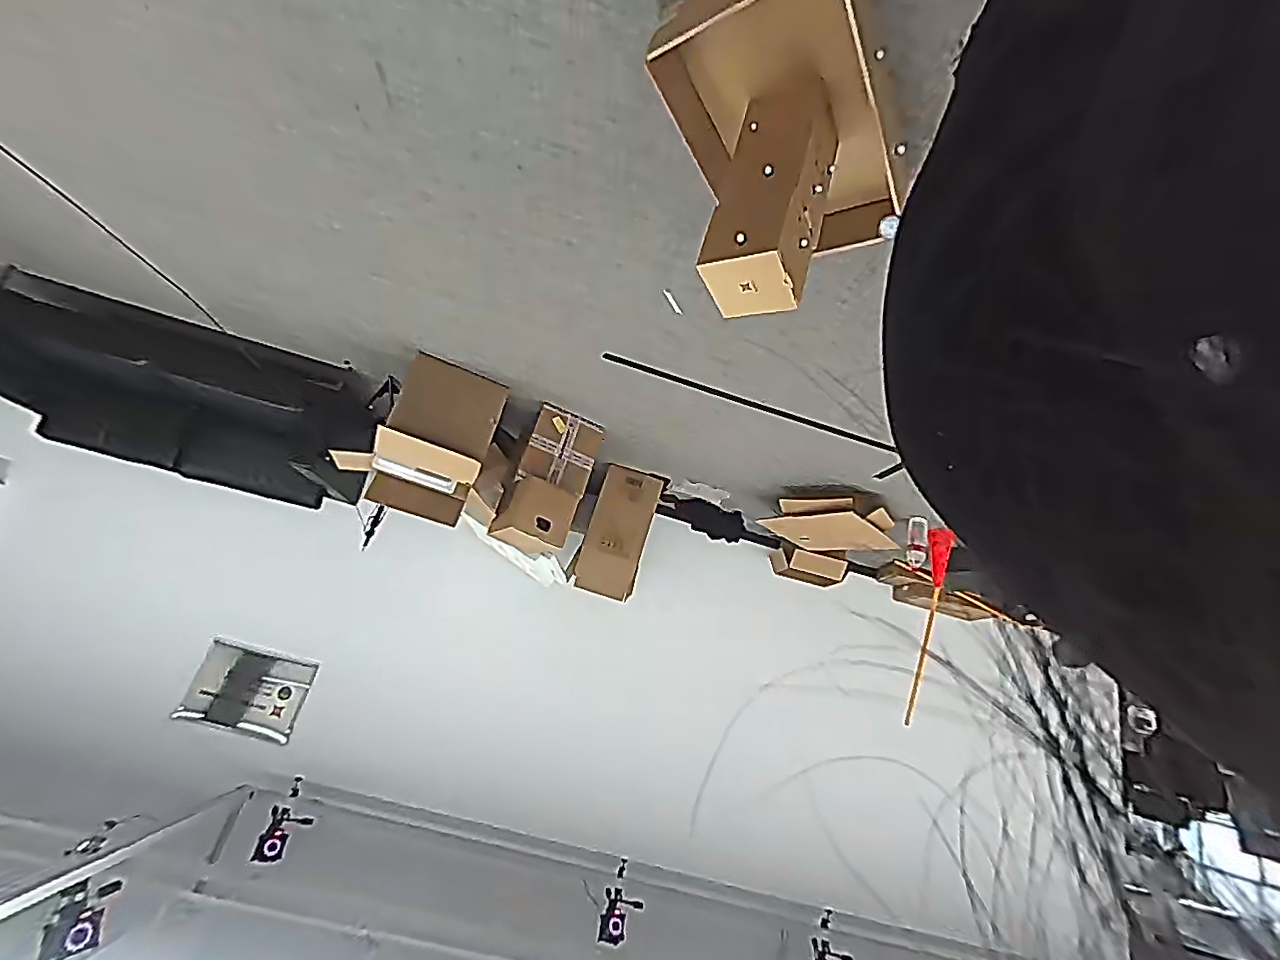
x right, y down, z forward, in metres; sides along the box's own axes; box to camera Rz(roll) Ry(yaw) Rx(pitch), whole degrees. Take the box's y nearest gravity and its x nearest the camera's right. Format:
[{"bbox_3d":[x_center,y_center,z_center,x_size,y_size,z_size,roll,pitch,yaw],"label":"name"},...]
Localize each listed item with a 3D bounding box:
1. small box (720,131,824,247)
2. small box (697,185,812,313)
[{"bbox_3d":[0.298,-0.624,1.188,0.179,0.176,0.168,3,156,32],"label":"small box"},{"bbox_3d":[0.245,-0.479,1.134,0.179,0.176,0.168,3,156,34],"label":"small box"}]
